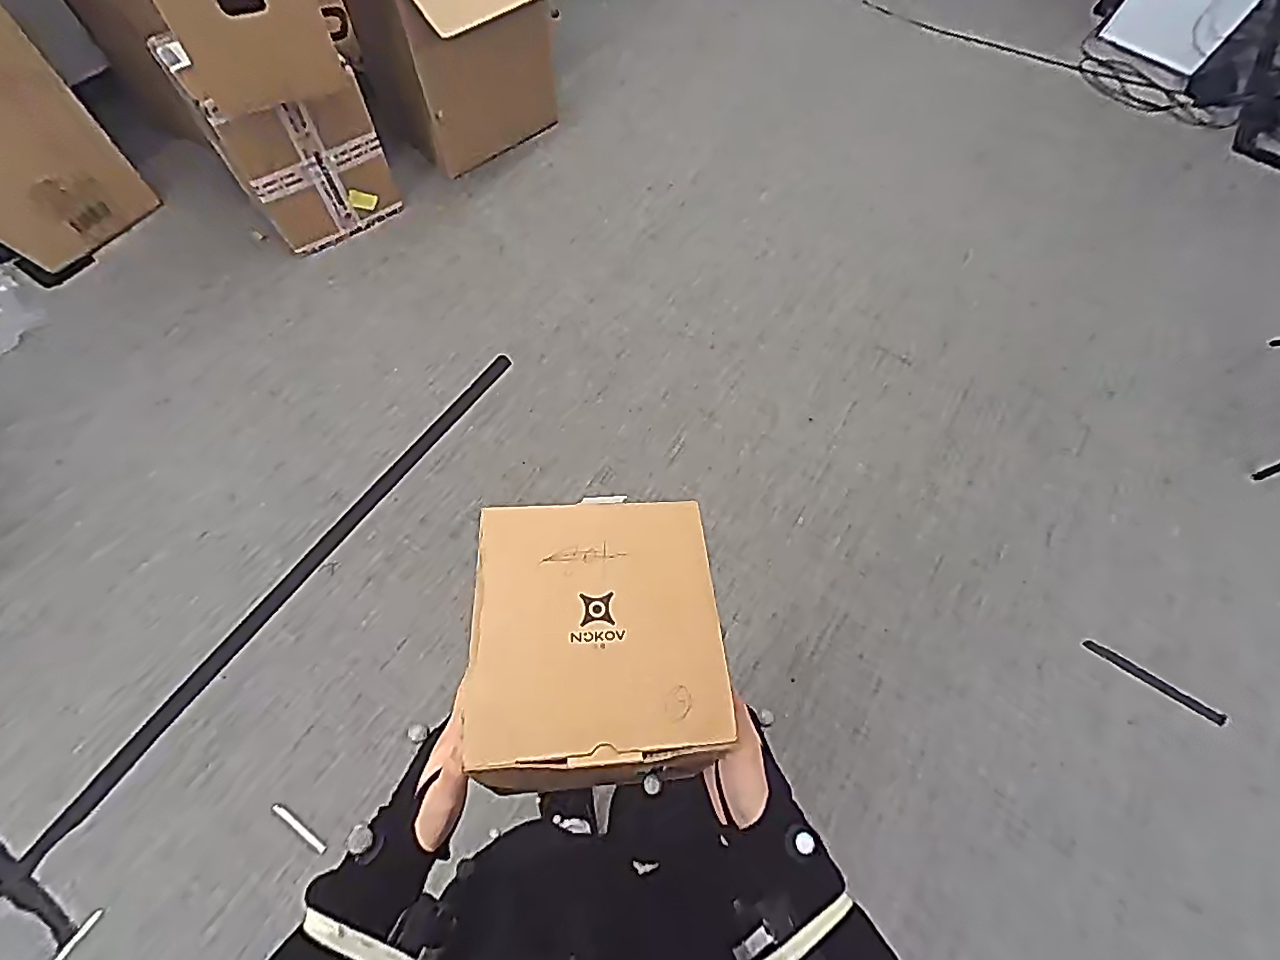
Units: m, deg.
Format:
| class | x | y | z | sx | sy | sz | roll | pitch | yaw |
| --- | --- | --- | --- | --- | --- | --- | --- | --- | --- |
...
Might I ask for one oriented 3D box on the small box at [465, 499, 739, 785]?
| class | x | y | z | sx | sy | sz | roll | pitch | yaw |
| --- | --- | --- | --- | --- | --- | --- | --- | --- | --- |
| small box | -0.034 | 0.134 | 0.428 | 0.168 | 0.176 | 0.179 | -1 | 55 | -8 |
